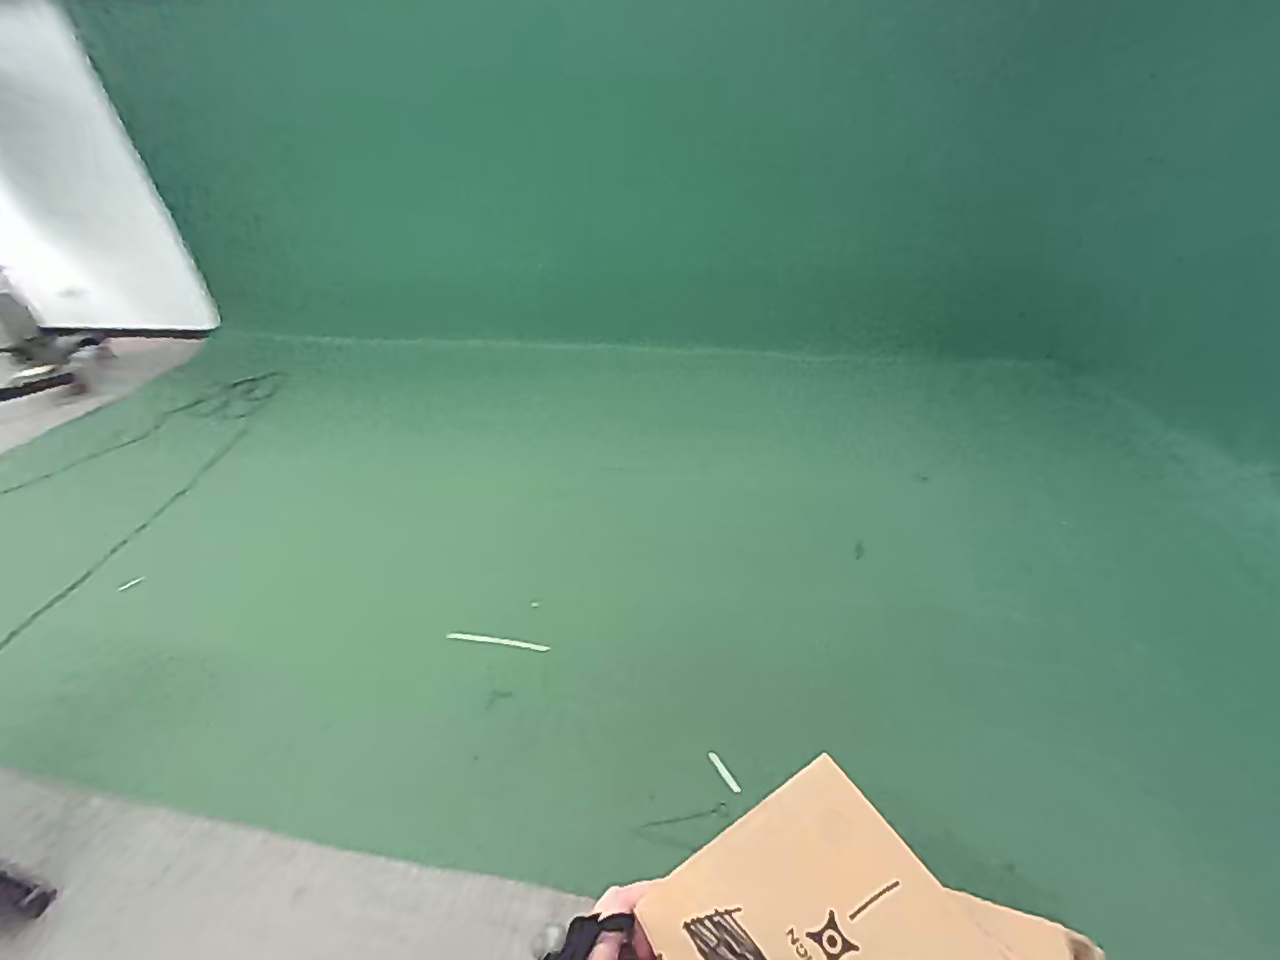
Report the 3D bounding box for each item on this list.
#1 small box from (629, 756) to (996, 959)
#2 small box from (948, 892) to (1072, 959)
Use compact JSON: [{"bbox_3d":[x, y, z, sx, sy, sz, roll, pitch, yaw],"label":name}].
[{"bbox_3d":[0.115,0.348,0.385,0.179,0.176,0.168,-27,45,-20],"label":"small box"},{"bbox_3d":[0.596,0.835,0.898,0.179,0.176,0.168,8,39,18],"label":"small box"}]
